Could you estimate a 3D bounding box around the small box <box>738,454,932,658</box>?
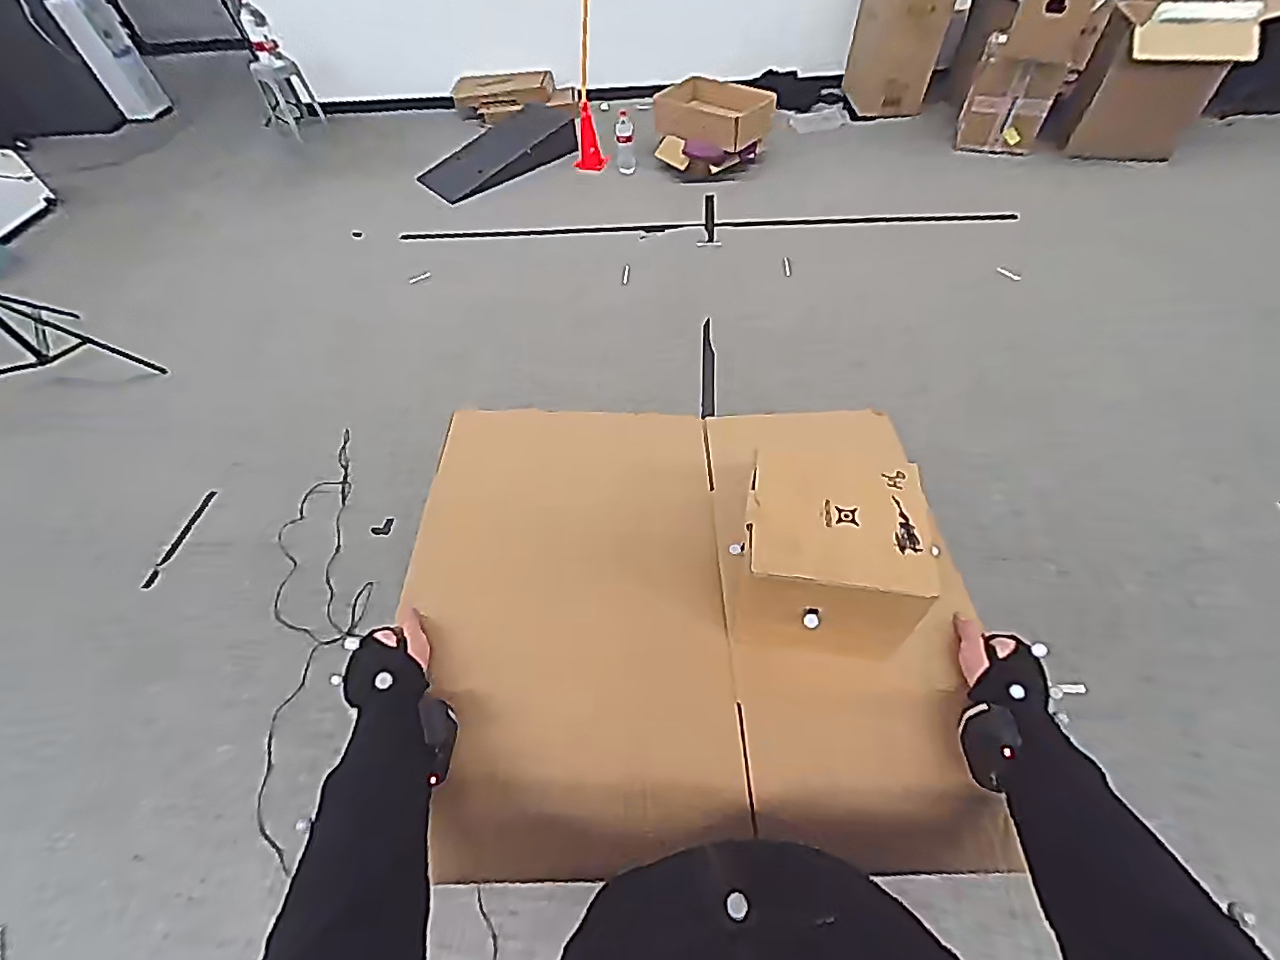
[{"bbox_3d":[0.209,0.090,0.627,0.179,0.176,0.168,5,52,10],"label":"small box"}]
